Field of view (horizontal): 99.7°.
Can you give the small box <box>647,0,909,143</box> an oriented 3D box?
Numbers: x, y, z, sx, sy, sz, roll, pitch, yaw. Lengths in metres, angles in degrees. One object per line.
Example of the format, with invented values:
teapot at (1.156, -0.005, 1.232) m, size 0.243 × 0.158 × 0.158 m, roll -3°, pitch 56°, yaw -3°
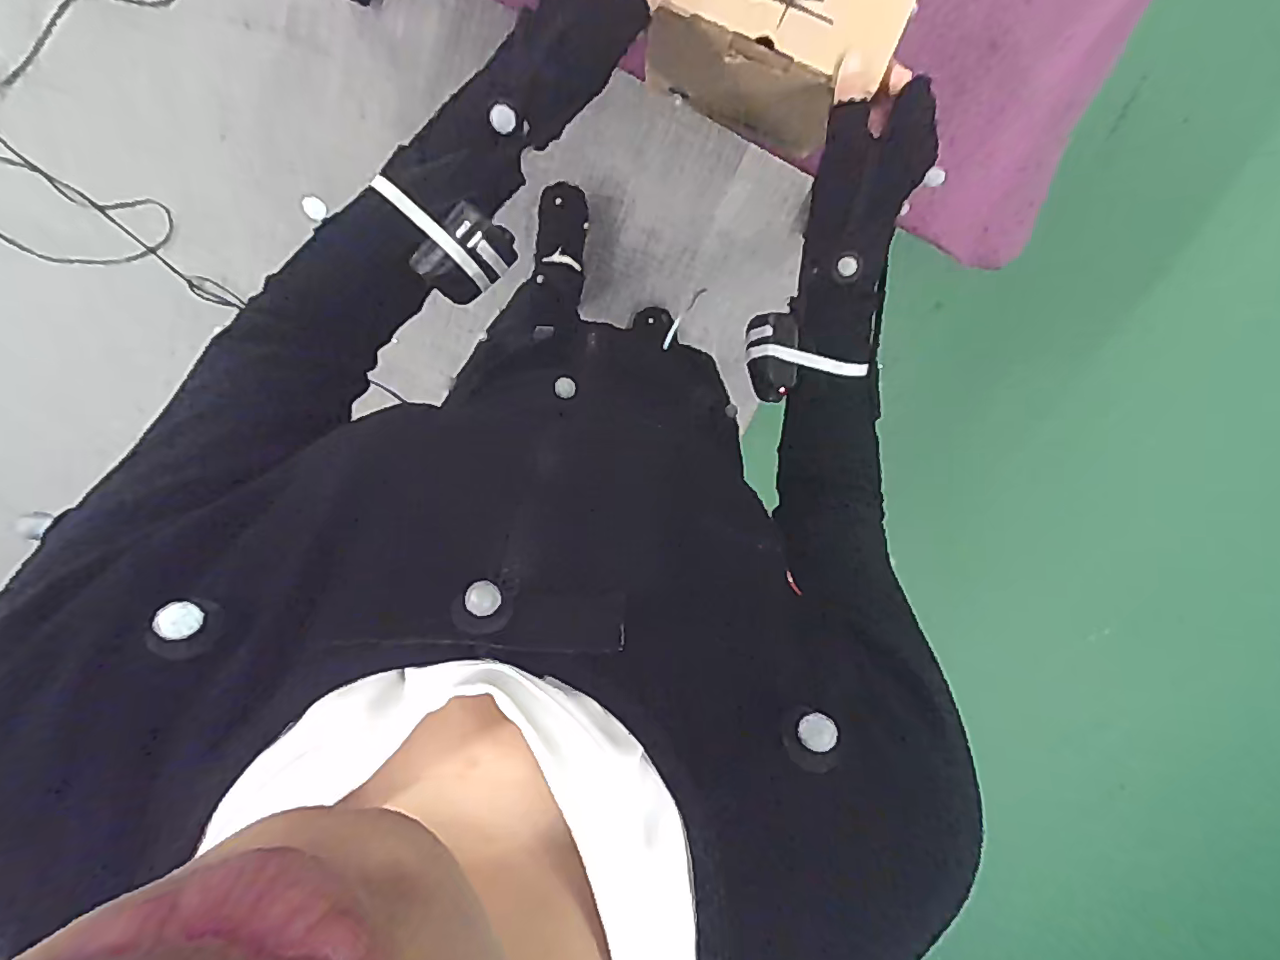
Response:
small box at (0.112, -0.393, 0.410) m, size 0.168 × 0.176 × 0.179 m, roll 20°, pitch 107°, yaw -7°
